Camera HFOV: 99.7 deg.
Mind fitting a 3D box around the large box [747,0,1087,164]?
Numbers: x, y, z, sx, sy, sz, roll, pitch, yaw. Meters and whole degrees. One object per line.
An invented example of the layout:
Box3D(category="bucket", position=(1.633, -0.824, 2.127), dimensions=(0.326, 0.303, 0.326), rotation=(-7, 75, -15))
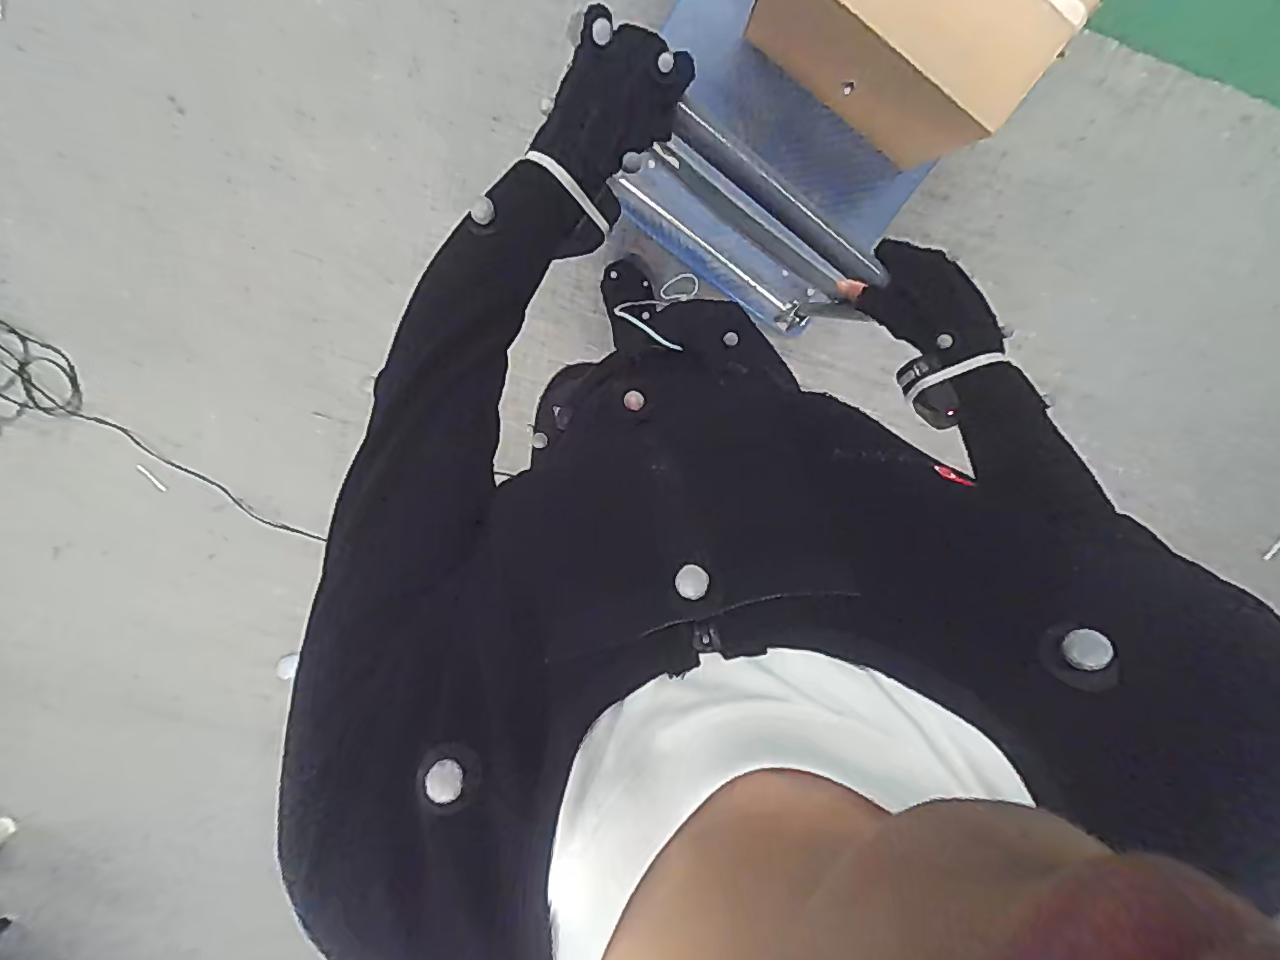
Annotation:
Box3D(category="large box", position=(0.436, -0.785, 0.861), dimensions=(0.408, 0.320, 0.320), rotation=(31, 109, -9))
